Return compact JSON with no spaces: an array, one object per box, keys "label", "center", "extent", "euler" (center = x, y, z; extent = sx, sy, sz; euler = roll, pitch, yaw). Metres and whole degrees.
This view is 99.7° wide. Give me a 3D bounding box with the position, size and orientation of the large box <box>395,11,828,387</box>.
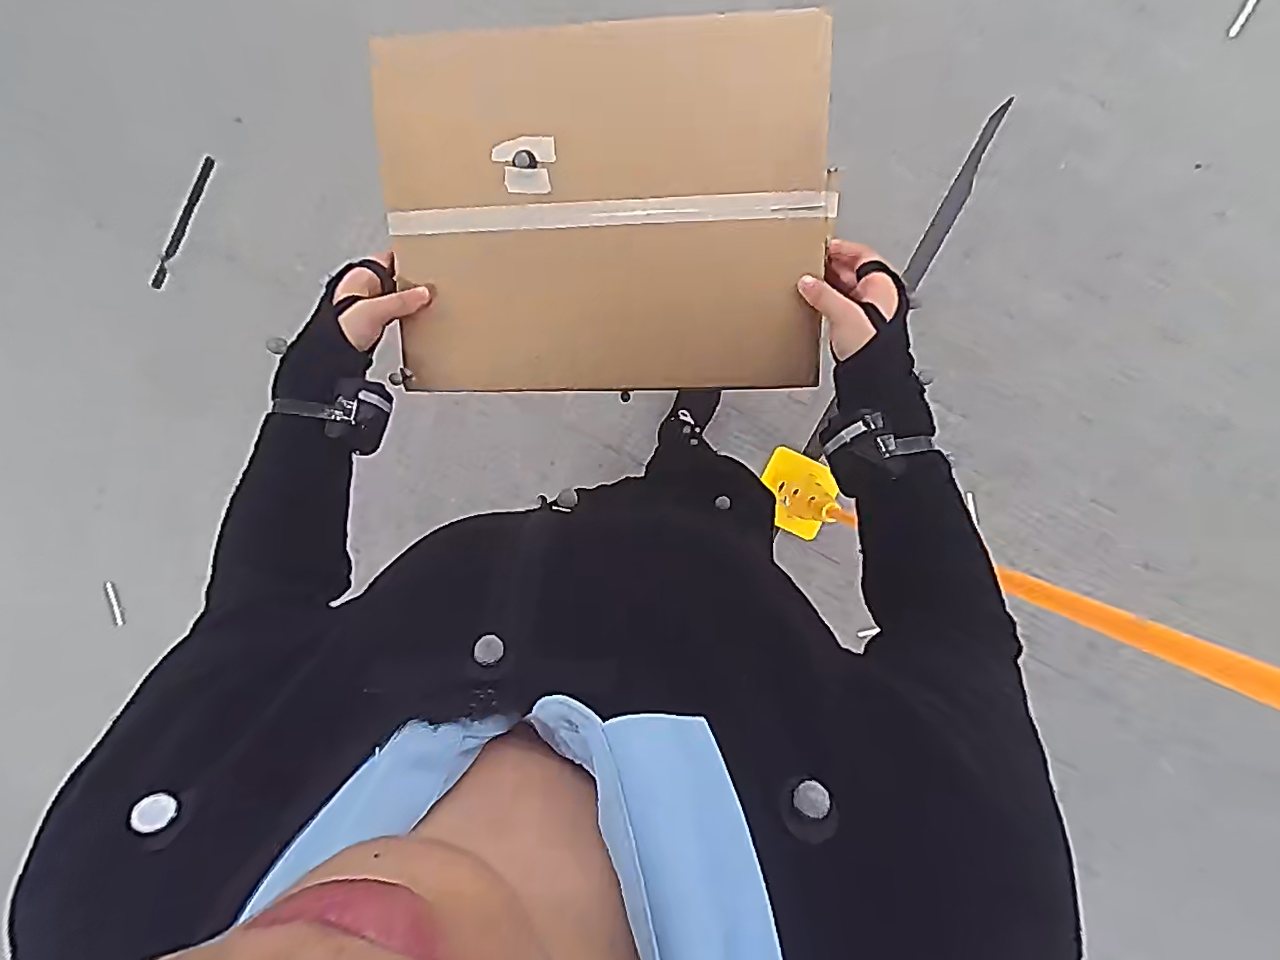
[{"label":"large box","center":[-0.013,-0.274,0.653],"extent":[0.408,0.320,0.320],"euler":[0,99,6]}]
